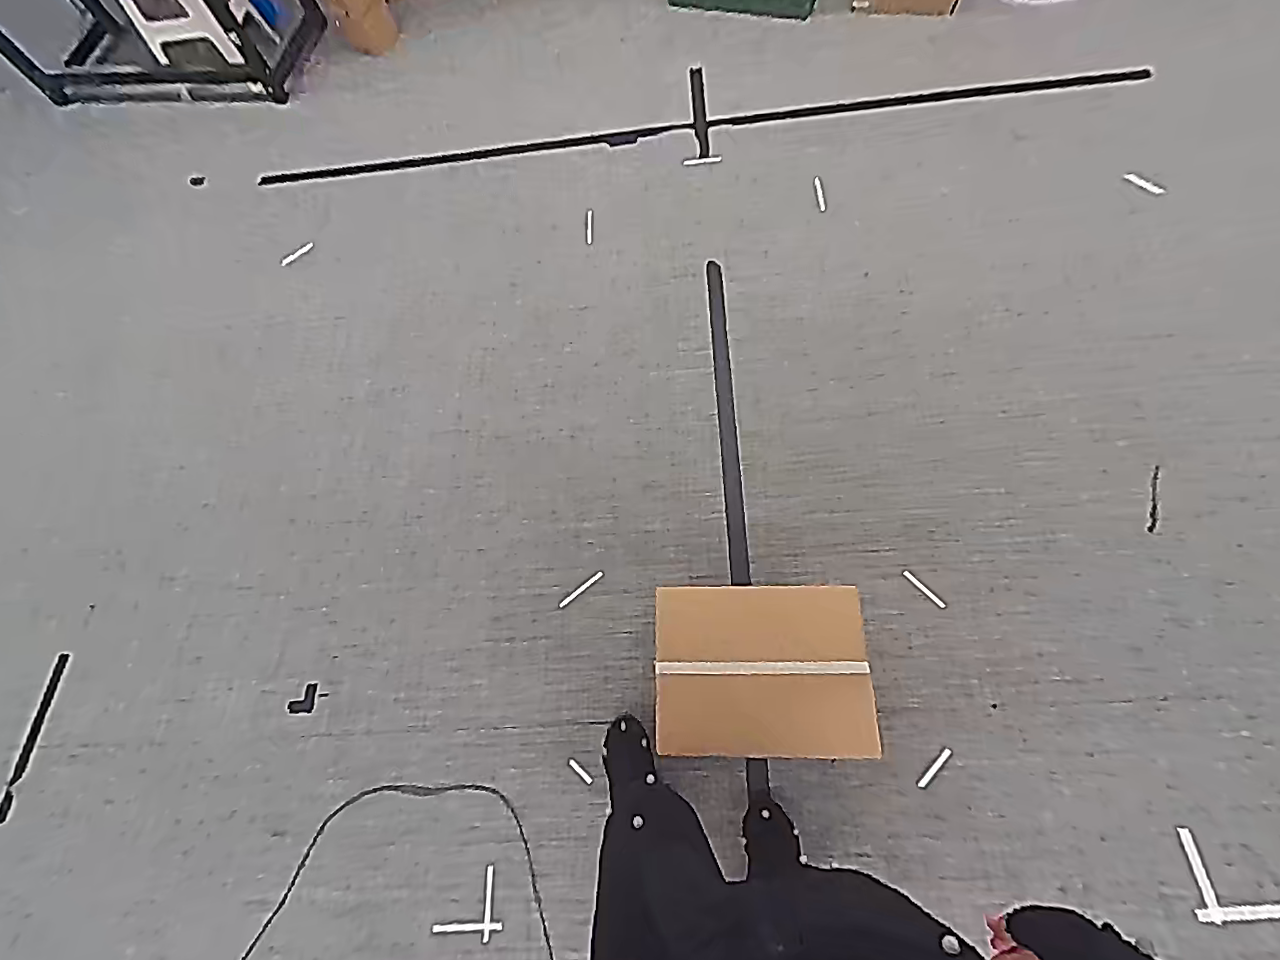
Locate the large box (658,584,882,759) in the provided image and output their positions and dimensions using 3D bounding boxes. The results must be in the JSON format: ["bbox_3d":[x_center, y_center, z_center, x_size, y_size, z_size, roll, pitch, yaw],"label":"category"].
[{"bbox_3d":[0.249,0.413,1.172,0.408,0.320,0.320,-2,68,4],"label":"large box"}]
